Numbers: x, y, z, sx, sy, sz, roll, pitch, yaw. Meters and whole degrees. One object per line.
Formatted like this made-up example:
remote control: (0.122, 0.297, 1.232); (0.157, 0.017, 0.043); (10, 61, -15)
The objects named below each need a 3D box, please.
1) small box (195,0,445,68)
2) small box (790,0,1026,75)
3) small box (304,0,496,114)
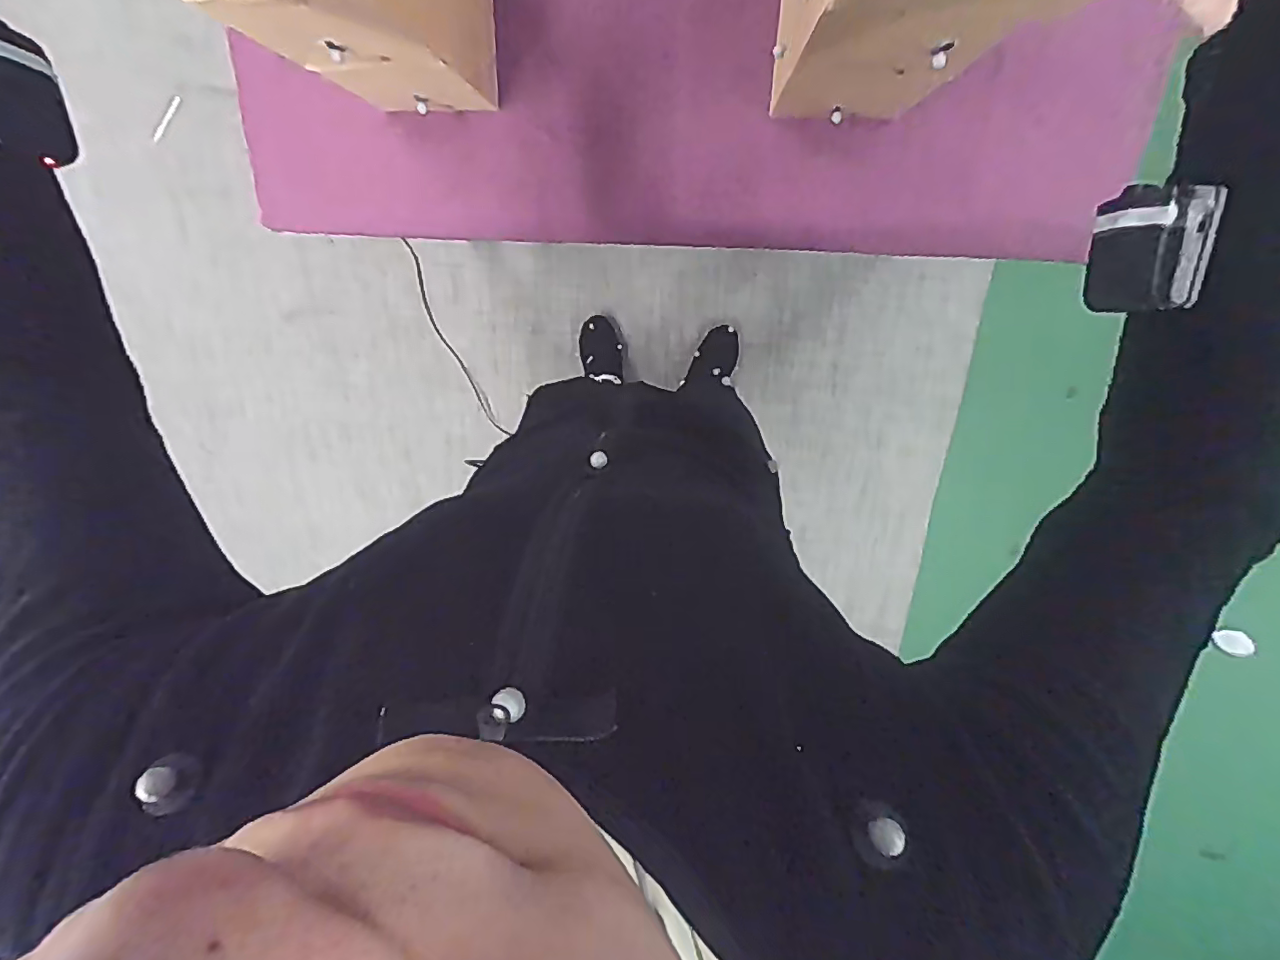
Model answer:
small box: (-0.296, -0.507, 0.489); (0.168, 0.176, 0.179); (2, 112, 5)
small box: (0.226, -0.464, 0.449); (0.168, 0.176, 0.179); (3, 111, 4)
small box: (-0.281, -0.563, 0.641); (0.168, 0.176, 0.179); (3, 110, 5)
